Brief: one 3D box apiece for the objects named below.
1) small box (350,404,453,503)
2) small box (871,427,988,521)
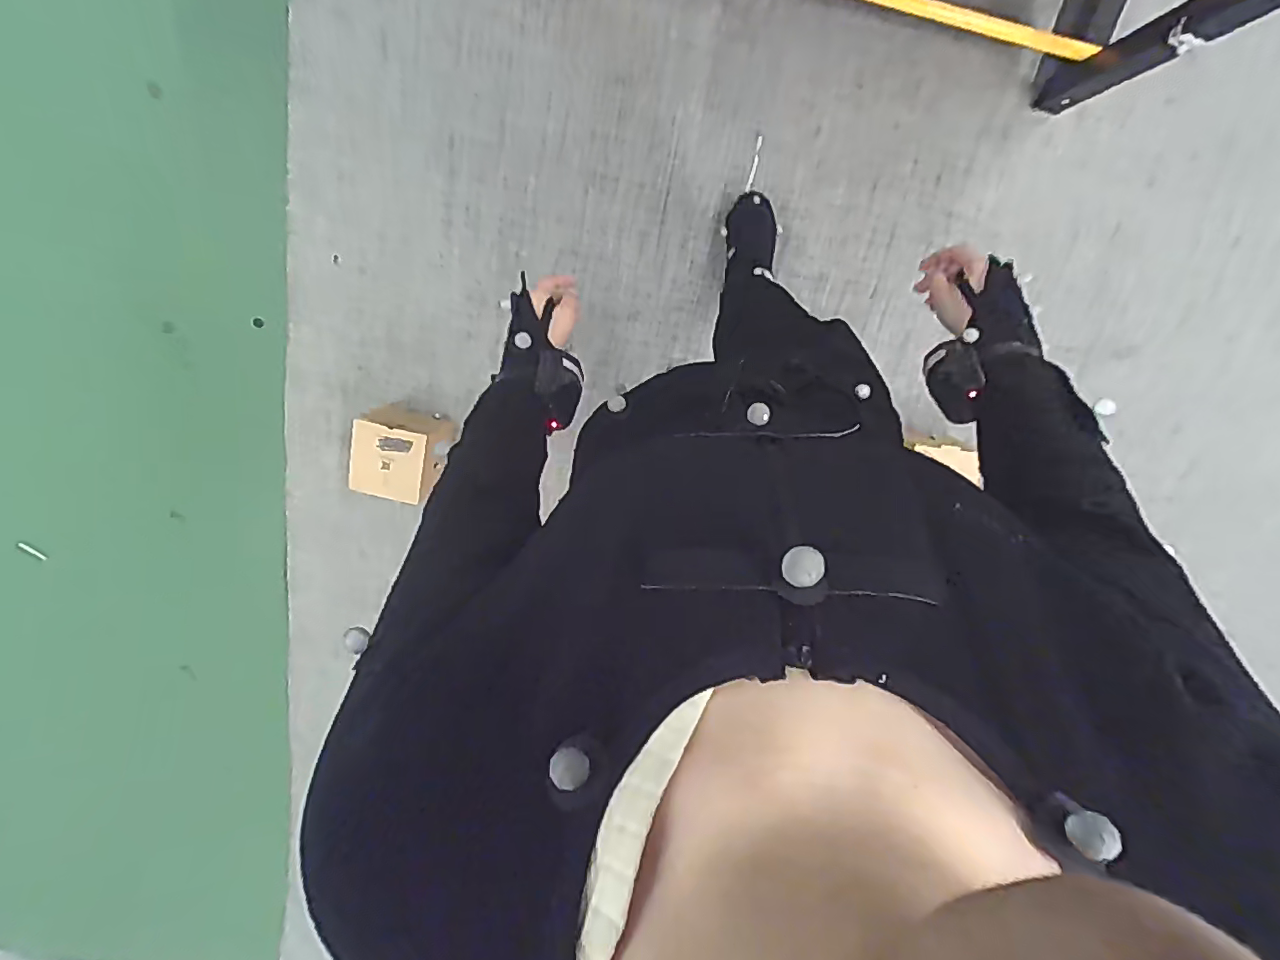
[{"bbox_3d":[-0.560,-0.070,1.288,0.168,0.176,0.179,14,109,-3],"label":"small box"},{"bbox_3d":[0.671,-0.021,1.278,0.168,0.176,0.179,7,107,-1],"label":"small box"}]
